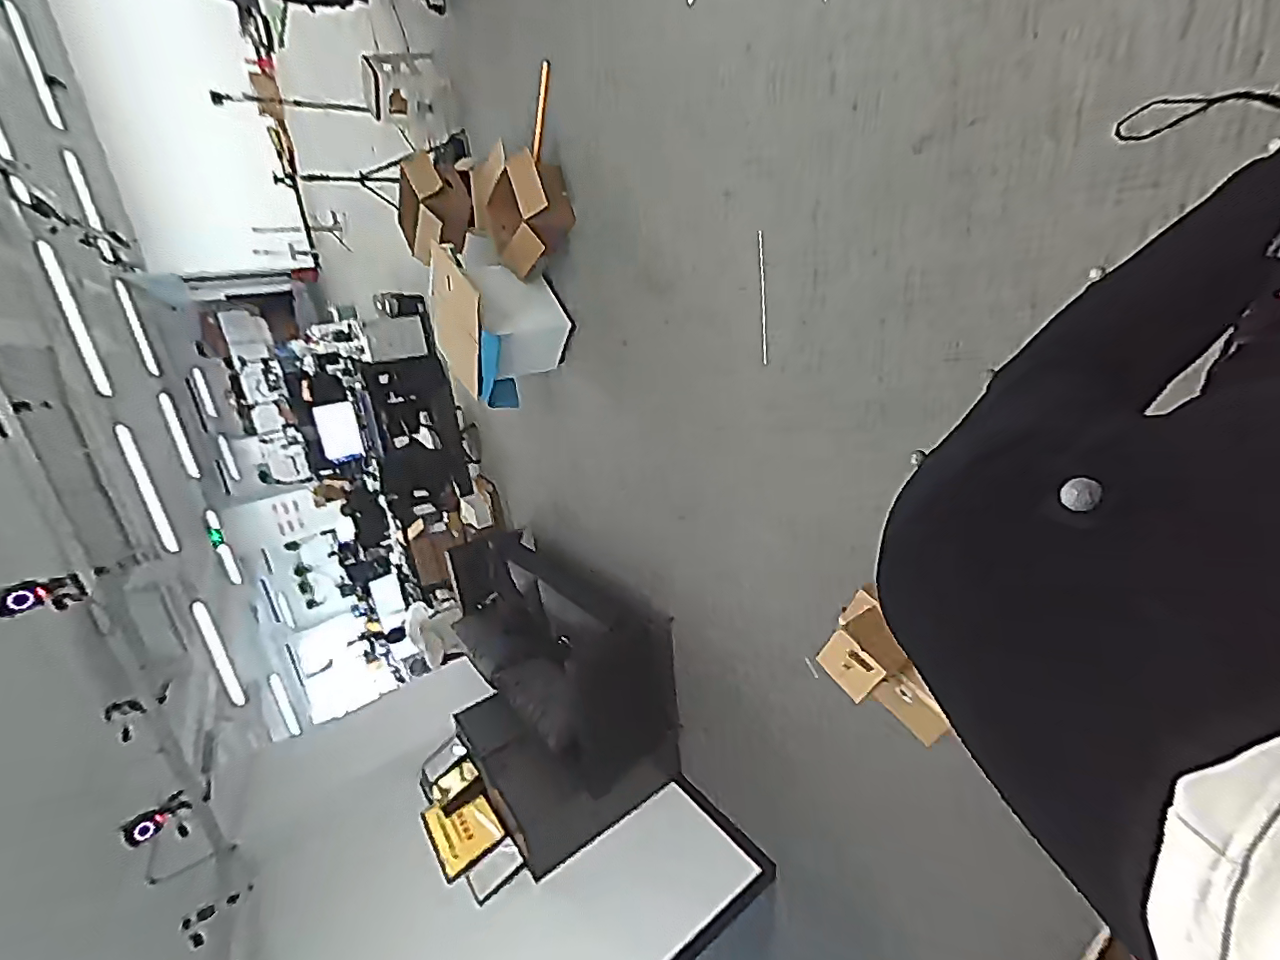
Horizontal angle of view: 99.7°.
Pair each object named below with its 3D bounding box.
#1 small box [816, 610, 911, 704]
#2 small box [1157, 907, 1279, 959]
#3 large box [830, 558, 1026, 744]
[{"bbox_3d":[0.661,0.515,1.591,0.168,0.176,0.179,47,139,33],"label":"small box"},{"bbox_3d":[1.079,0.958,0.998,0.168,0.176,0.179,29,128,47],"label":"small box"},{"bbox_3d":[0.888,0.521,1.714,0.408,0.320,0.320,43,139,35],"label":"large box"}]
